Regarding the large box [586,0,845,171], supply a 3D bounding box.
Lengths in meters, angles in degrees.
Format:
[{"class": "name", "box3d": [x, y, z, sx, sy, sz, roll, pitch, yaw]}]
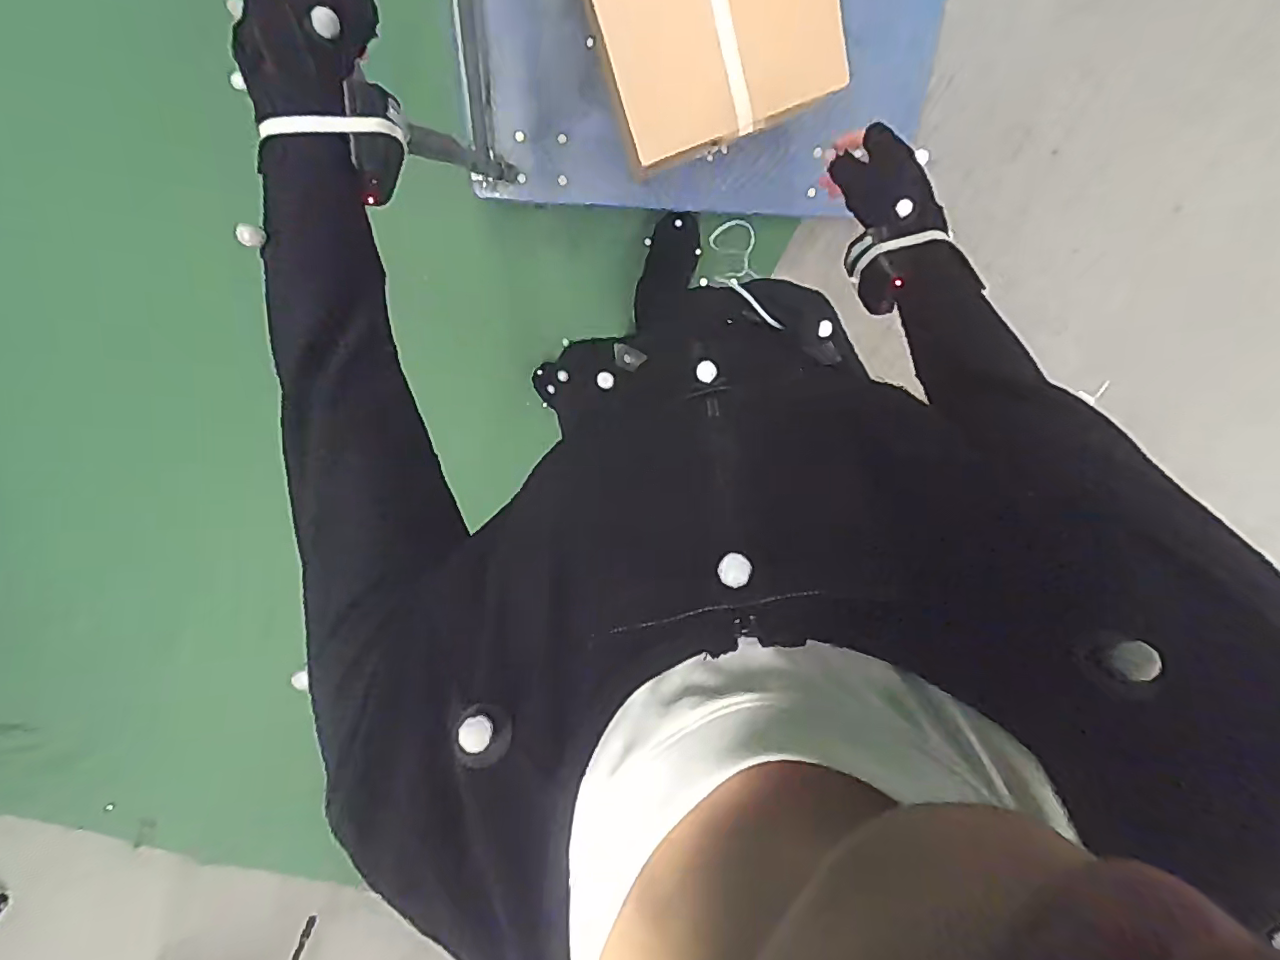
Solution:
[{"class": "large box", "box3d": [0.078, -0.756, 0.831, 0.320, 0.320, 0.408, -18, 115, 7]}]
